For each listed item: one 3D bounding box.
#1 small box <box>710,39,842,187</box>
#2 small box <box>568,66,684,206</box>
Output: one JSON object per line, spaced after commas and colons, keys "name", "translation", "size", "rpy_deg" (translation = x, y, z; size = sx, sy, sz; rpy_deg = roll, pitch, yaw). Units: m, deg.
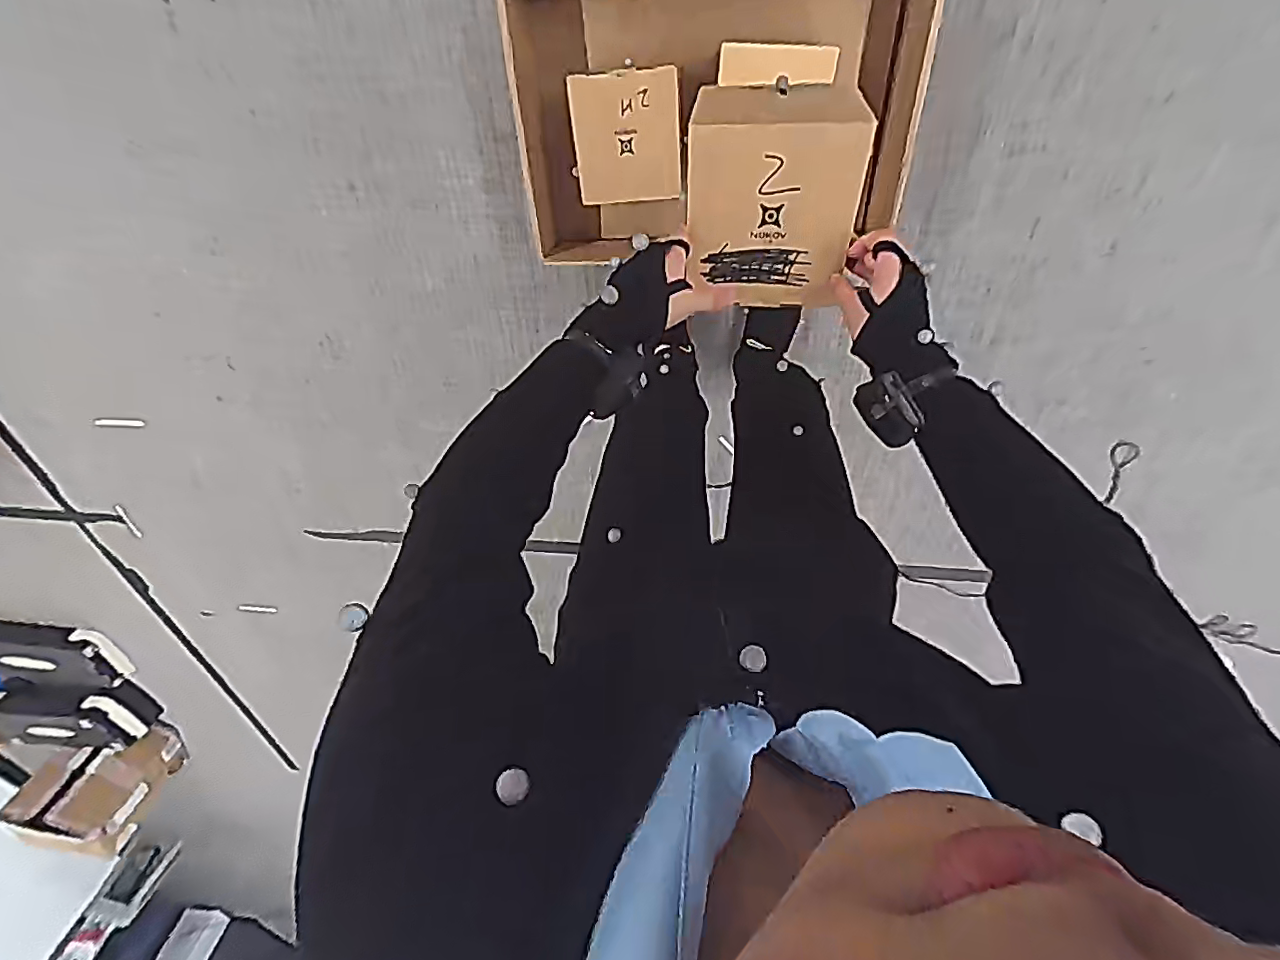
{"name": "small box", "translation": [0.202, -0.581, 0.860], "size": [0.168, 0.176, 0.179], "rpy_deg": [6, 127, 4]}
{"name": "small box", "translation": [-0.013, -0.569, 0.894], "size": [0.168, 0.176, 0.179], "rpy_deg": [-1, 126, 6]}
